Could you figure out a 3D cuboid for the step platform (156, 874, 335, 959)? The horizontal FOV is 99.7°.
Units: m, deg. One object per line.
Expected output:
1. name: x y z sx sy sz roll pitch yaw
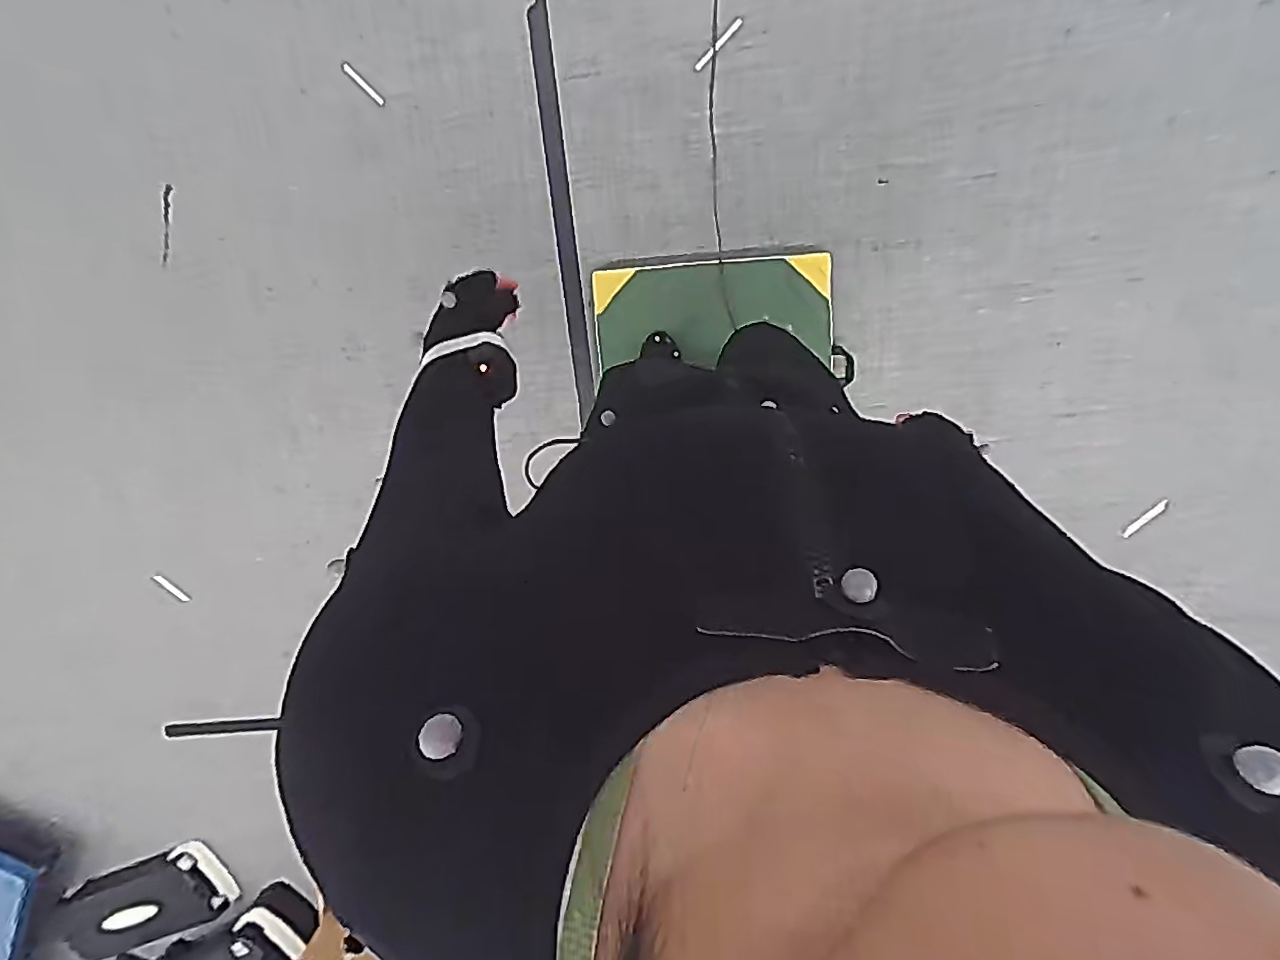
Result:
1. step platform: -1.503 1.764 2.011 0.684 0.204 0.286 -34 101 10
